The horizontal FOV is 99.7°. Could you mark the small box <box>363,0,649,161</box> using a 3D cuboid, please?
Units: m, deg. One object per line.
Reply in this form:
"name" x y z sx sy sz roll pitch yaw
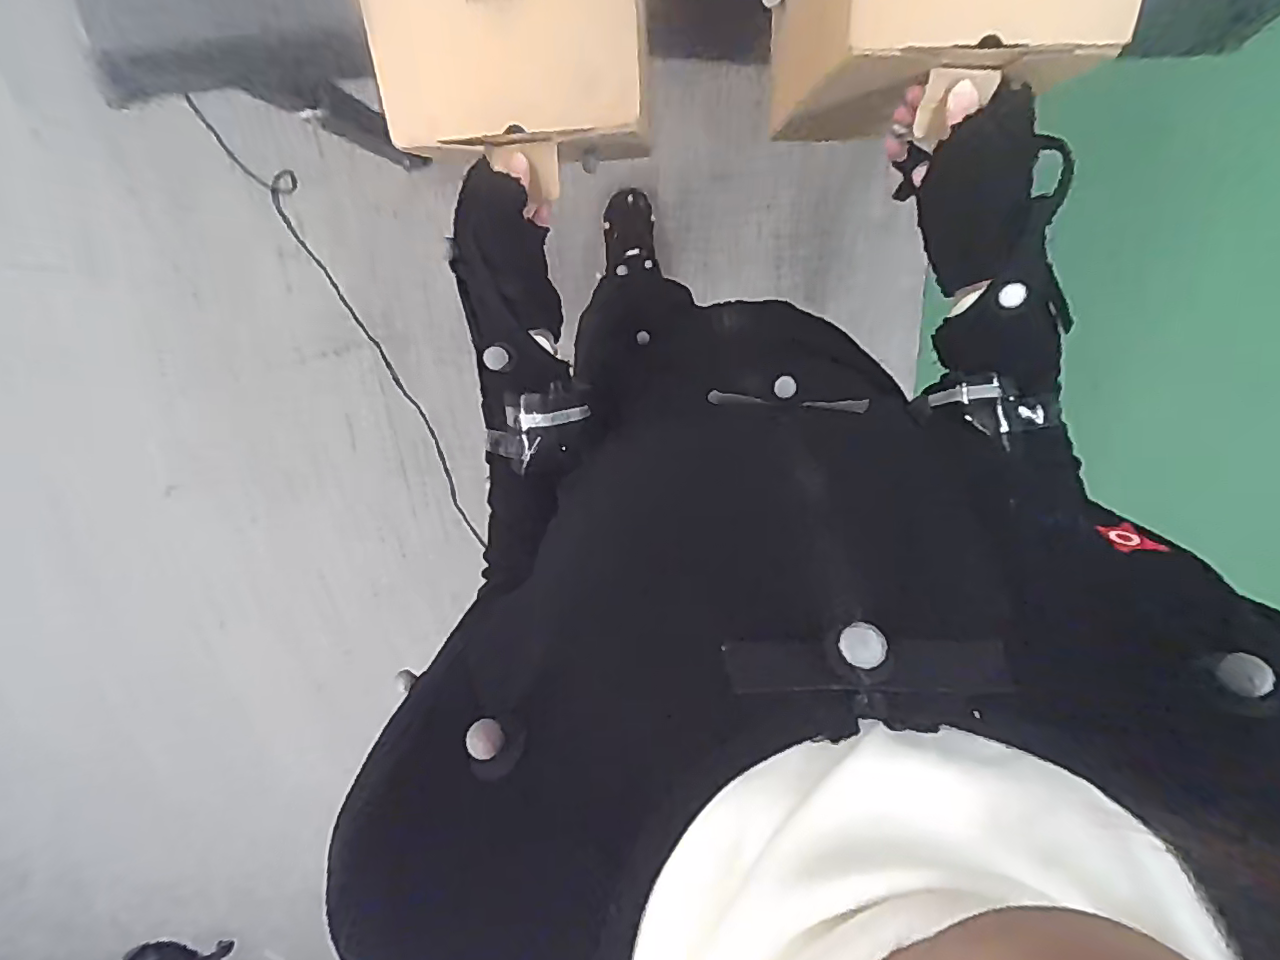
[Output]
"small box" -0.083 -0.340 0.390 0.168 0.176 0.179 -3 115 5
